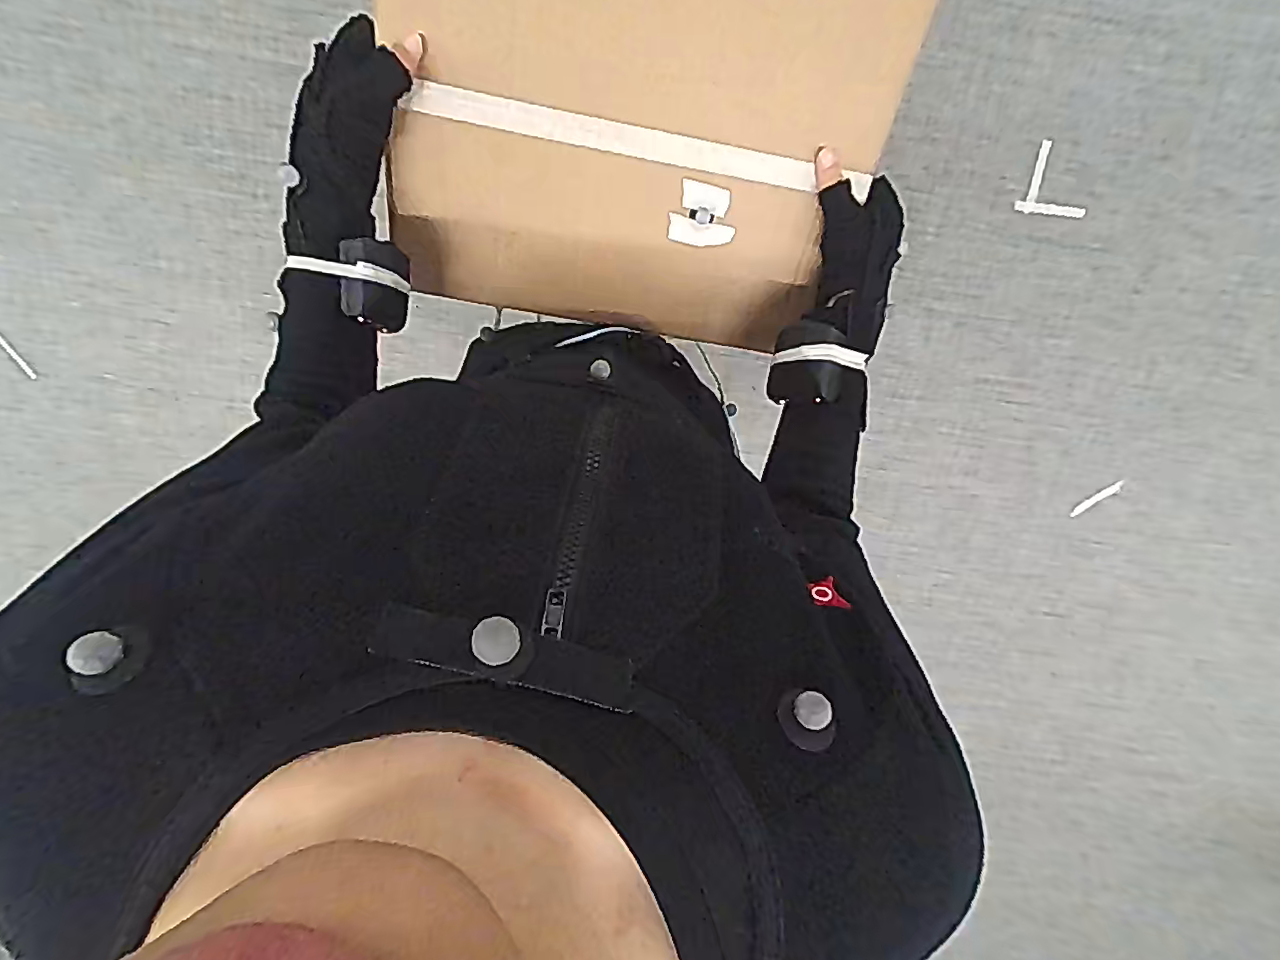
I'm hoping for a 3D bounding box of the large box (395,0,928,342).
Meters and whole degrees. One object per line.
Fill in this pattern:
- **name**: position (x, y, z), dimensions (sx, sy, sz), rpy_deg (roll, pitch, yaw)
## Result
- **large box**: position (-0.002, -0.373, 0.576), dimensions (0.408, 0.320, 0.320), rpy_deg (8, 124, -7)
